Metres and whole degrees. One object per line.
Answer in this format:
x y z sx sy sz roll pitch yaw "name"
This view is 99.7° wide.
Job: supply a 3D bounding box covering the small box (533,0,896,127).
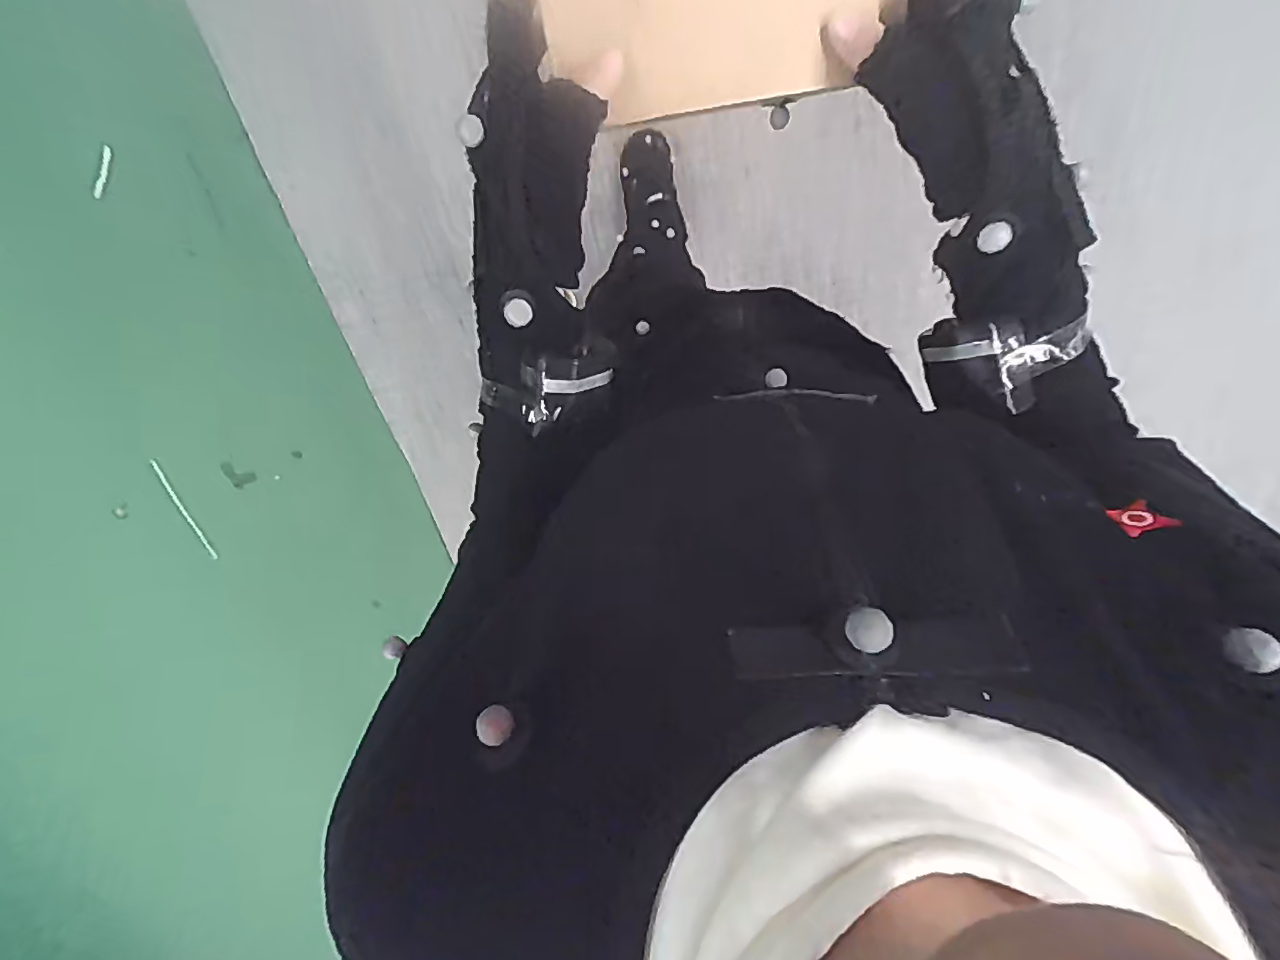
0.028 -0.310 0.303 0.179 0.176 0.168 -8 122 5 "small box"
